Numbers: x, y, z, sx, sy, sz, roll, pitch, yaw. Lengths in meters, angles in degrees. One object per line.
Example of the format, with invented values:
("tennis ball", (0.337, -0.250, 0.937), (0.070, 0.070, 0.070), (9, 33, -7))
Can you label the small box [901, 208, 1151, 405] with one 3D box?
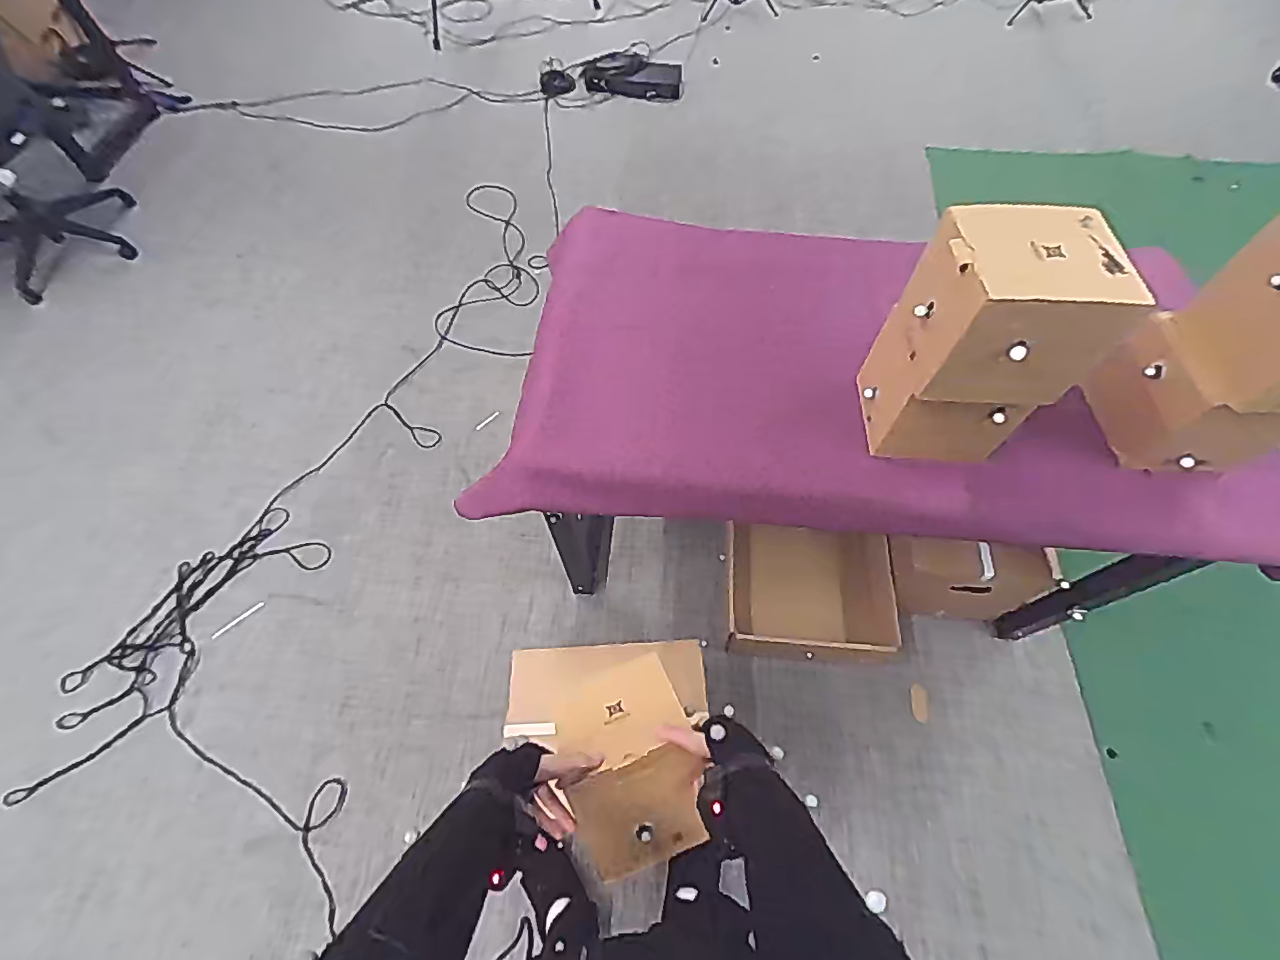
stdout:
("small box", (0.442, -0.206, 0.663), (0.179, 0.176, 0.168), (2, 59, 3))

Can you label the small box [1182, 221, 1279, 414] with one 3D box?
("small box", (0.829, -0.197, 0.650), (0.168, 0.176, 0.179), (1, 59, 4))

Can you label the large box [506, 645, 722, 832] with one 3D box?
("large box", (-0.058, 0.568, 1.183), (0.408, 0.320, 0.320), (-3, 59, -1))

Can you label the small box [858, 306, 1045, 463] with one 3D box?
("small box", (0.451, -0.137, 0.813), (0.179, 0.176, 0.168), (3, 59, 3))

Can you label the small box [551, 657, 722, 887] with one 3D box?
("small box", (-0.010, 0.378, 0.719), (0.168, 0.176, 0.179), (-20, 19, -8))

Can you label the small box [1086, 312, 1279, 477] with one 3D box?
("small box", (0.817, -0.124, 0.797), (0.168, 0.176, 0.179), (1, 59, 3))
